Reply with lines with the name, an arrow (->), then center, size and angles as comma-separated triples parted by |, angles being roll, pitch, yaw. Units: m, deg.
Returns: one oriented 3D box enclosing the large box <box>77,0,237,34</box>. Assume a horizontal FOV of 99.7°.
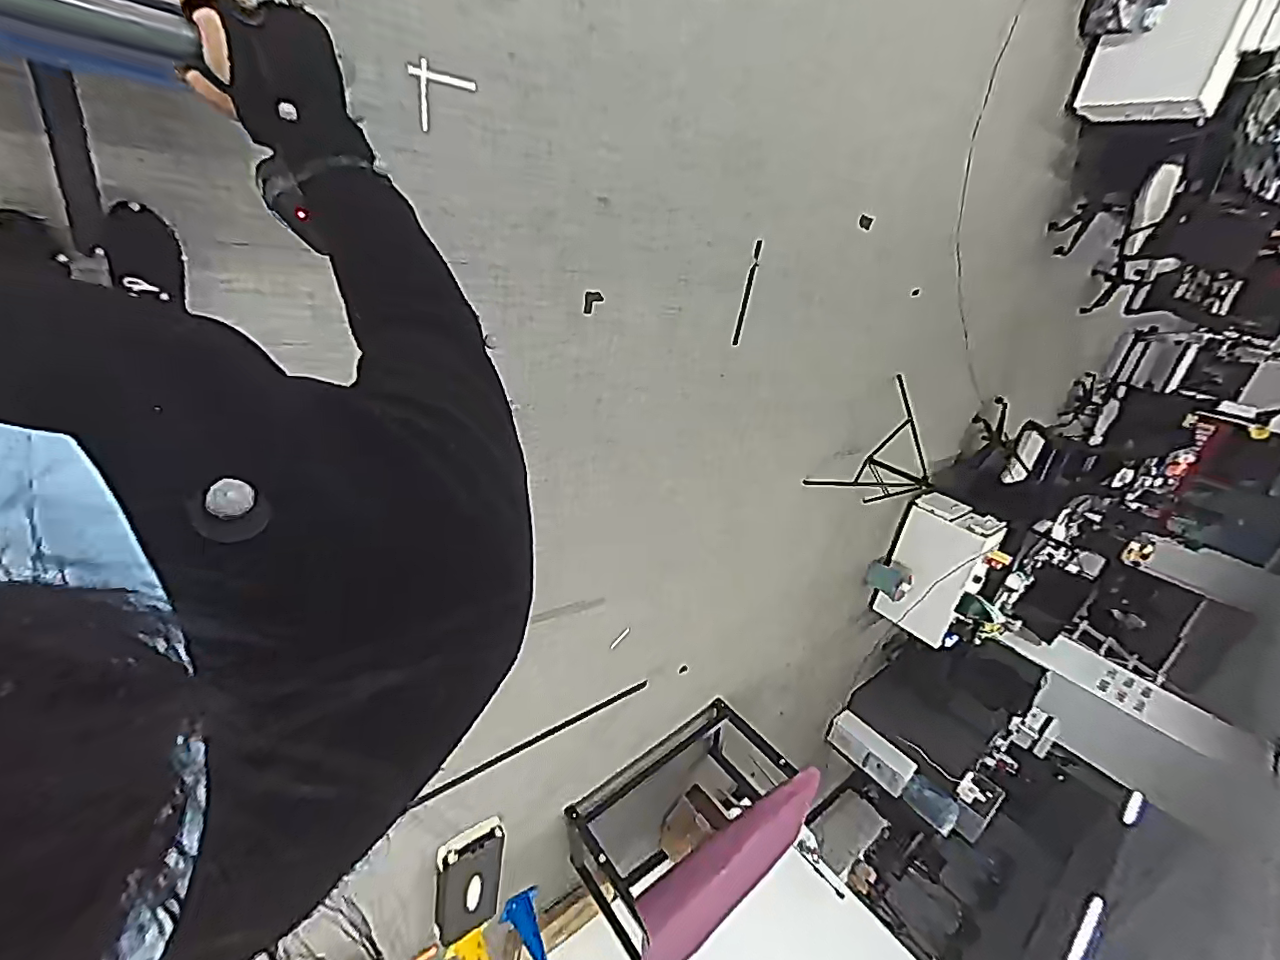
large box -> -0.709, -0.741, 0.567 | 0.408, 0.320, 0.320 | -12, 123, -39
